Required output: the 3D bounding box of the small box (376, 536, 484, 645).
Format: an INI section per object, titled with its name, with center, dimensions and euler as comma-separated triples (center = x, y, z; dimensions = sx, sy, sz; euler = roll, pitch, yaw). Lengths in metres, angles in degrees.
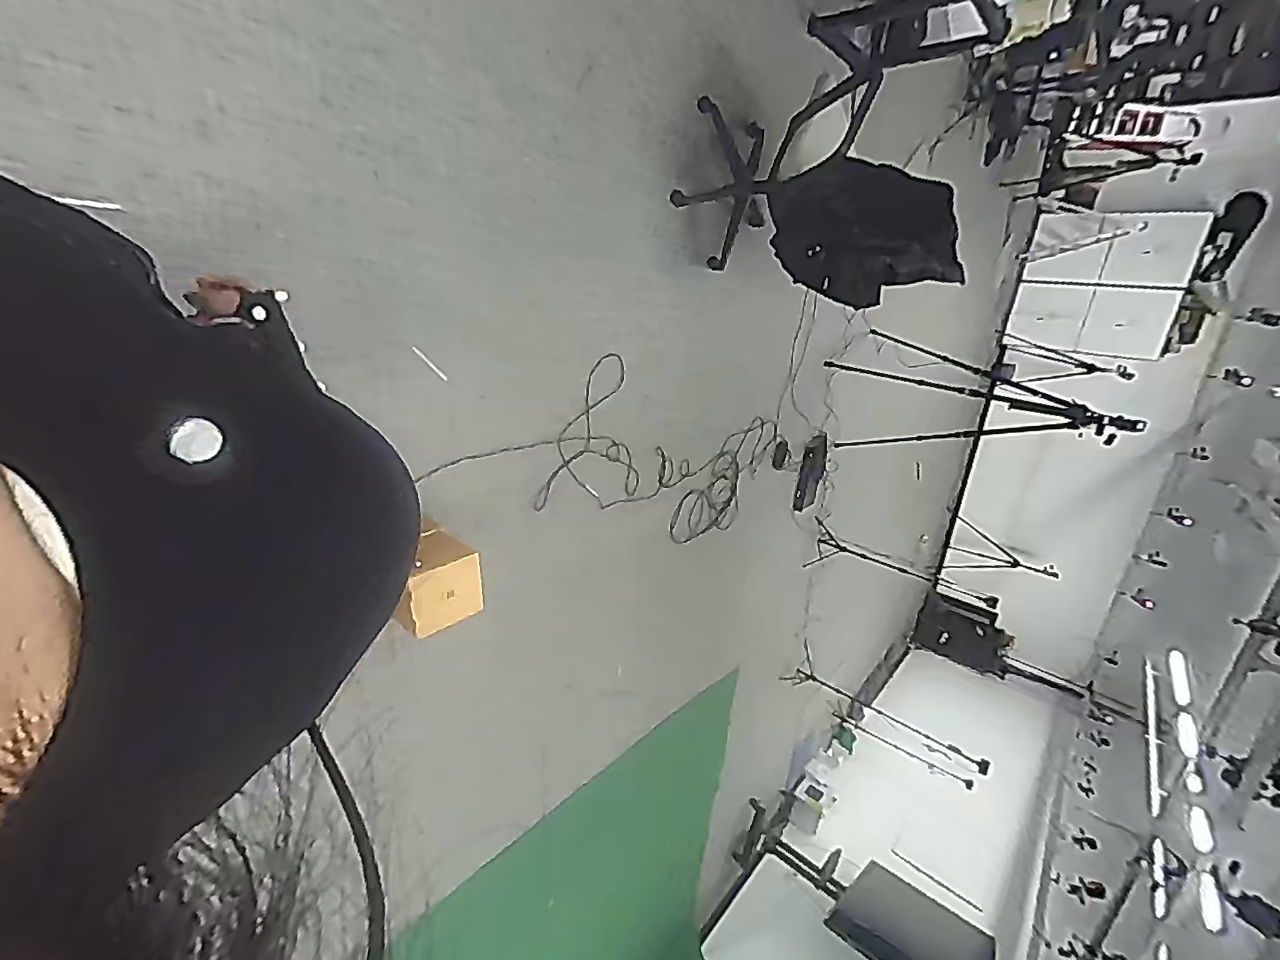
[small box]
center = -0.499, 0.254, 1.293
dimensions = 0.179, 0.176, 0.168
euler = -21, 120, -43
